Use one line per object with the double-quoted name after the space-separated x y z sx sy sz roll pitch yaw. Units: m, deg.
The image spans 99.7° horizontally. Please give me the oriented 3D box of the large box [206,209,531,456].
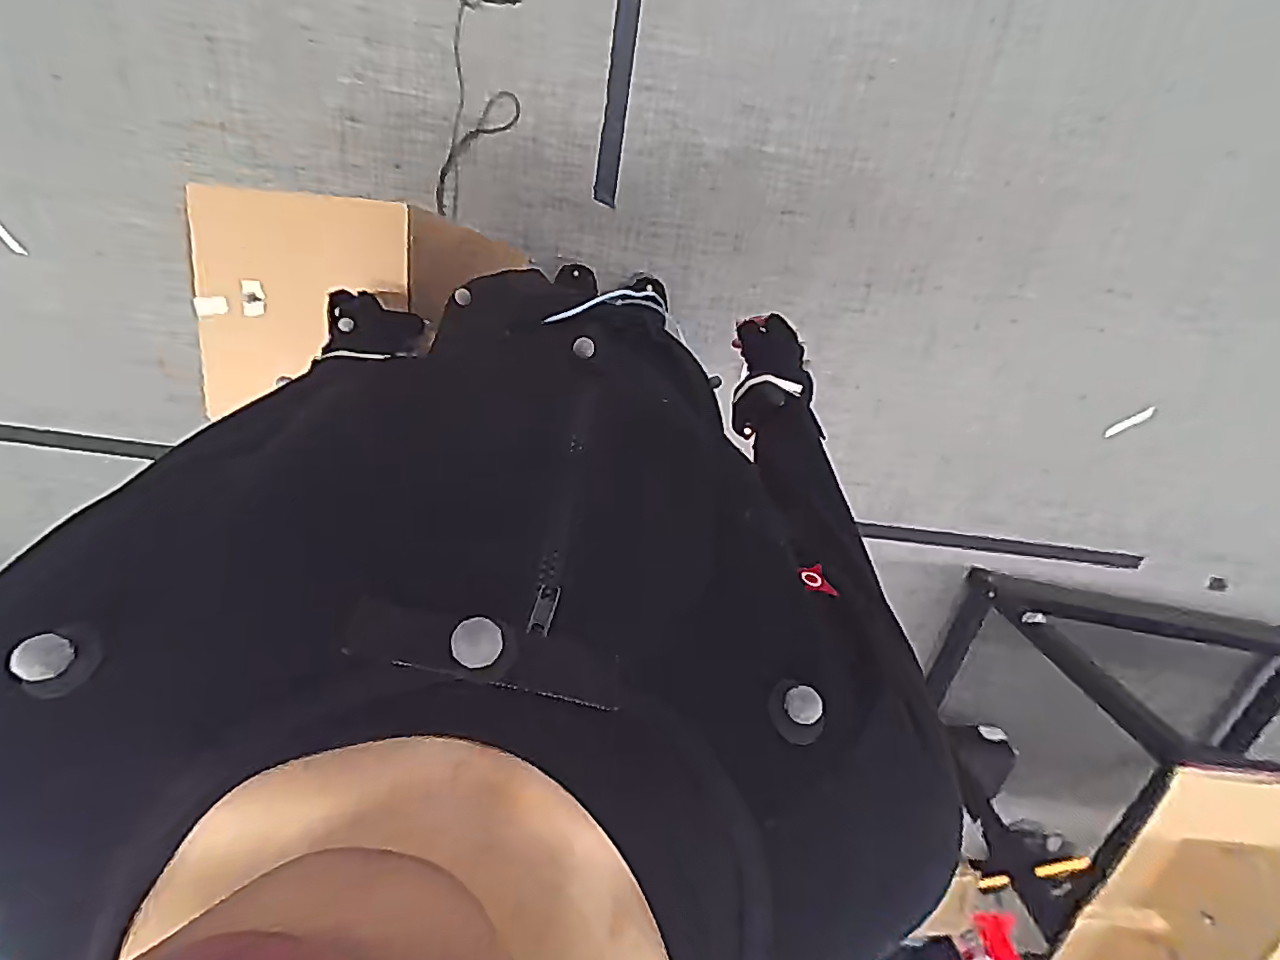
-0.405 -0.249 0.913 0.320 0.408 0.320 8 106 7 "large box"
